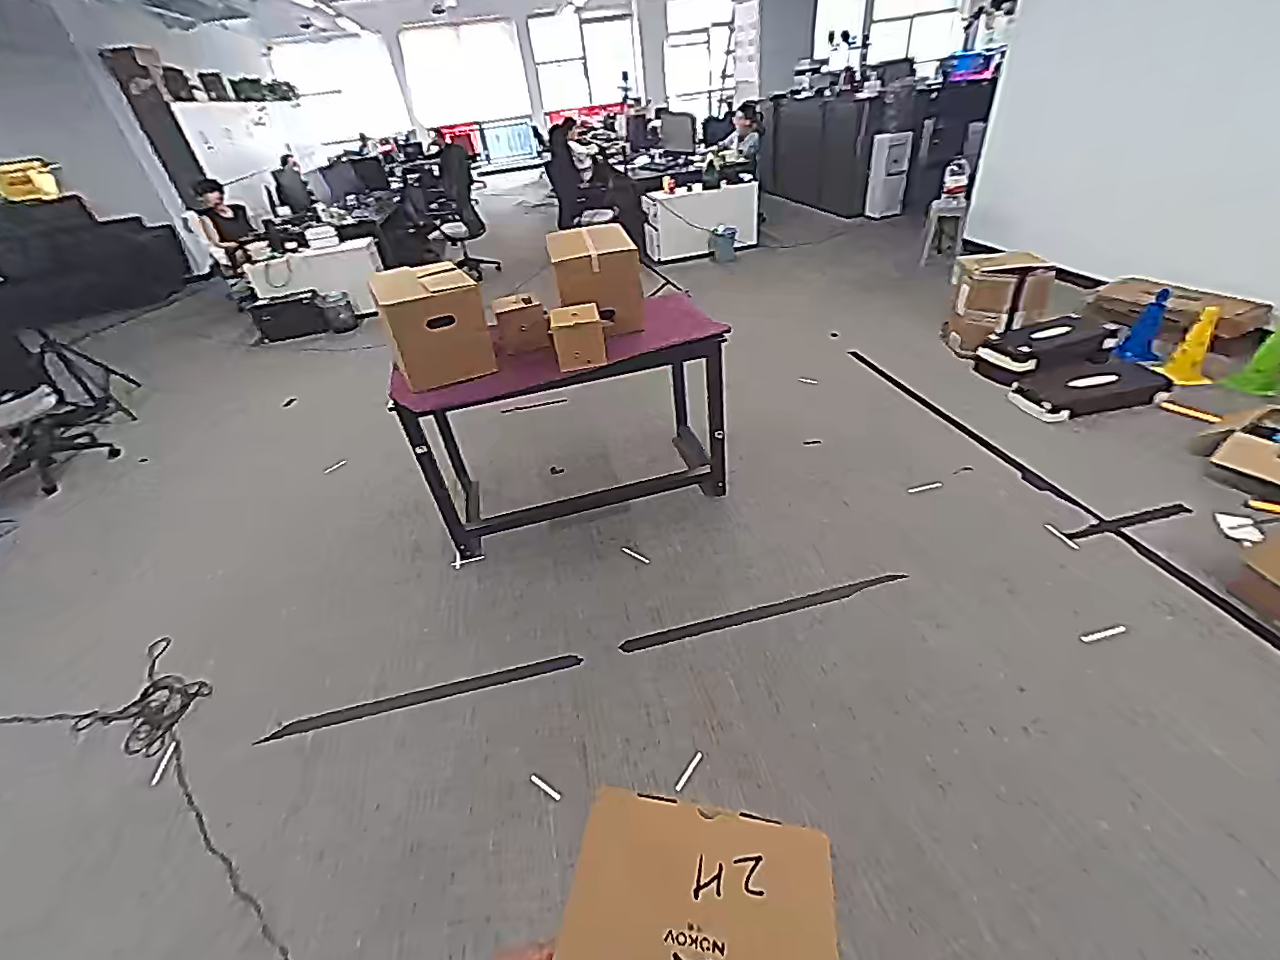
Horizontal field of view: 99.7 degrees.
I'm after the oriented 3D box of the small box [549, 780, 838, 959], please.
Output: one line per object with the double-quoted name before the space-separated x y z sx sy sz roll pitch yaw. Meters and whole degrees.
"small box" 0.033 0.339 0.356 0.168 0.176 0.179 6 36 9
